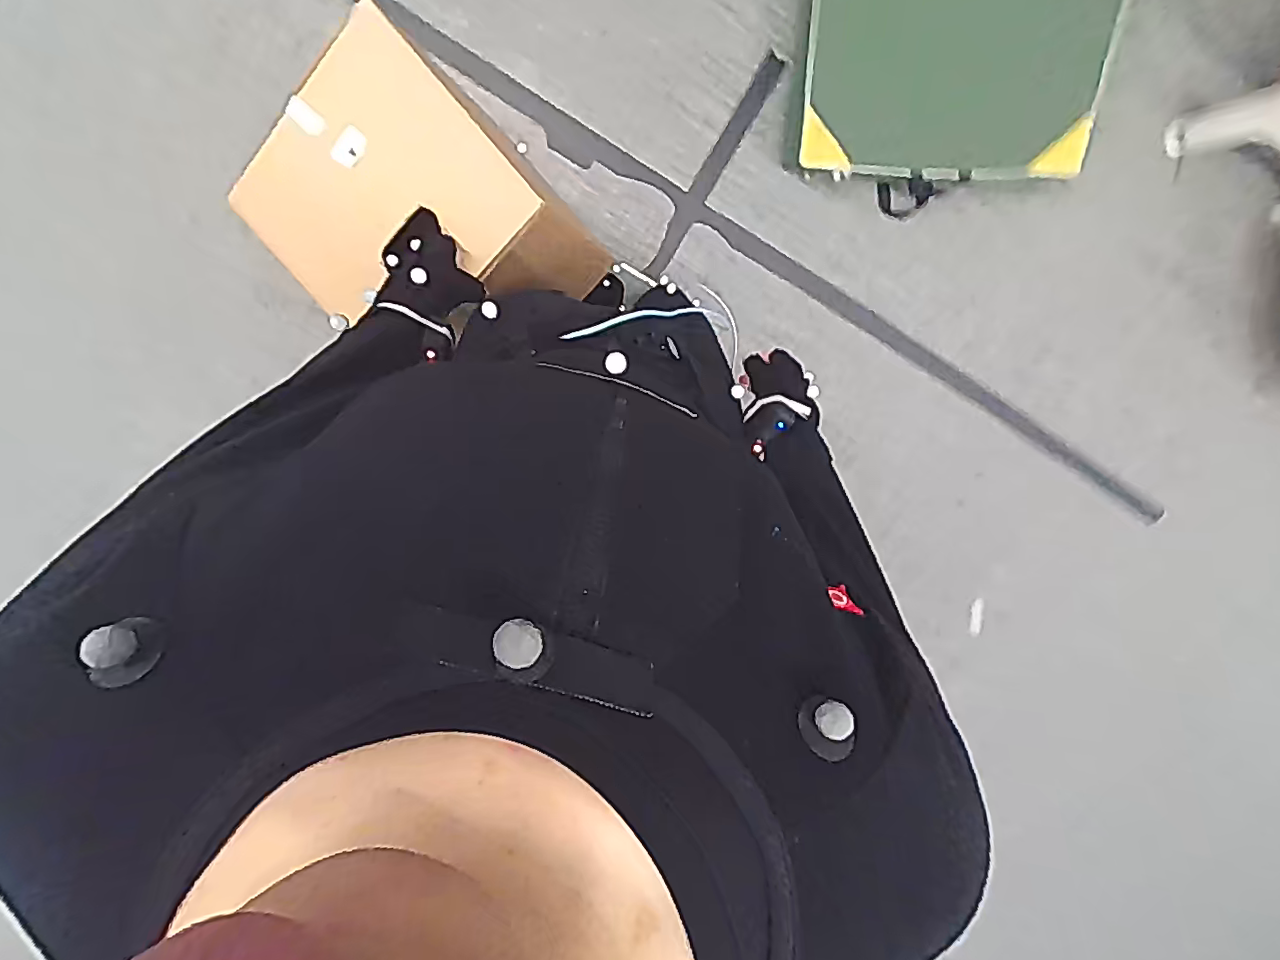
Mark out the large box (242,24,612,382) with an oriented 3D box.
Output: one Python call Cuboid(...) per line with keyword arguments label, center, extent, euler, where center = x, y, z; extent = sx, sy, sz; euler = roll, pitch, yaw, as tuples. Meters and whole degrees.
Cuboid(label="large box", center=(-0.297, -0.388, 0.871), extent=(0.320, 0.408, 0.320), euler=(-39, 94, 17))
